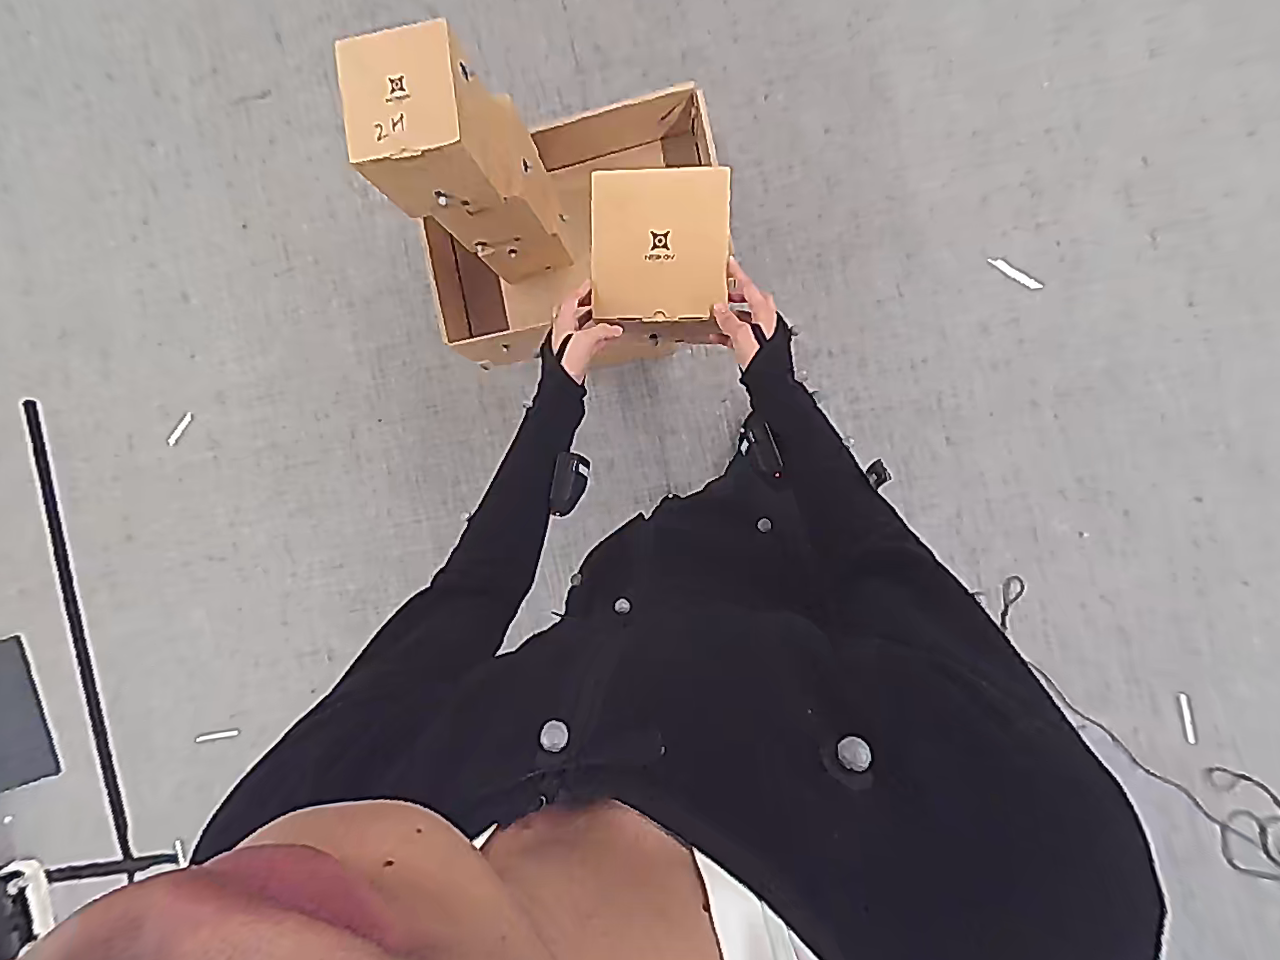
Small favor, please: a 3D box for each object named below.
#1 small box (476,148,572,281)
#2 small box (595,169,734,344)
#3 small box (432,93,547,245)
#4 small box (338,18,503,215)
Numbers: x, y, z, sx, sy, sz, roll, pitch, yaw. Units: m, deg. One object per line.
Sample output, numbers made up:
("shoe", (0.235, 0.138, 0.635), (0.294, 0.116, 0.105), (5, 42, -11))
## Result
("small box", (-0.256, -0.553, 1.147), (0.168, 0.176, 0.179), (-14, 90, 6))
("small box", (0.033, -0.285, 0.722), (0.168, 0.176, 0.179), (0, 95, 4))
("small box", (-0.277, -0.549, 0.984), (0.168, 0.176, 0.179), (-8, 90, 5))
("small box", (-0.322, -0.537, 0.823), (0.168, 0.176, 0.179), (-7, 92, 6))
